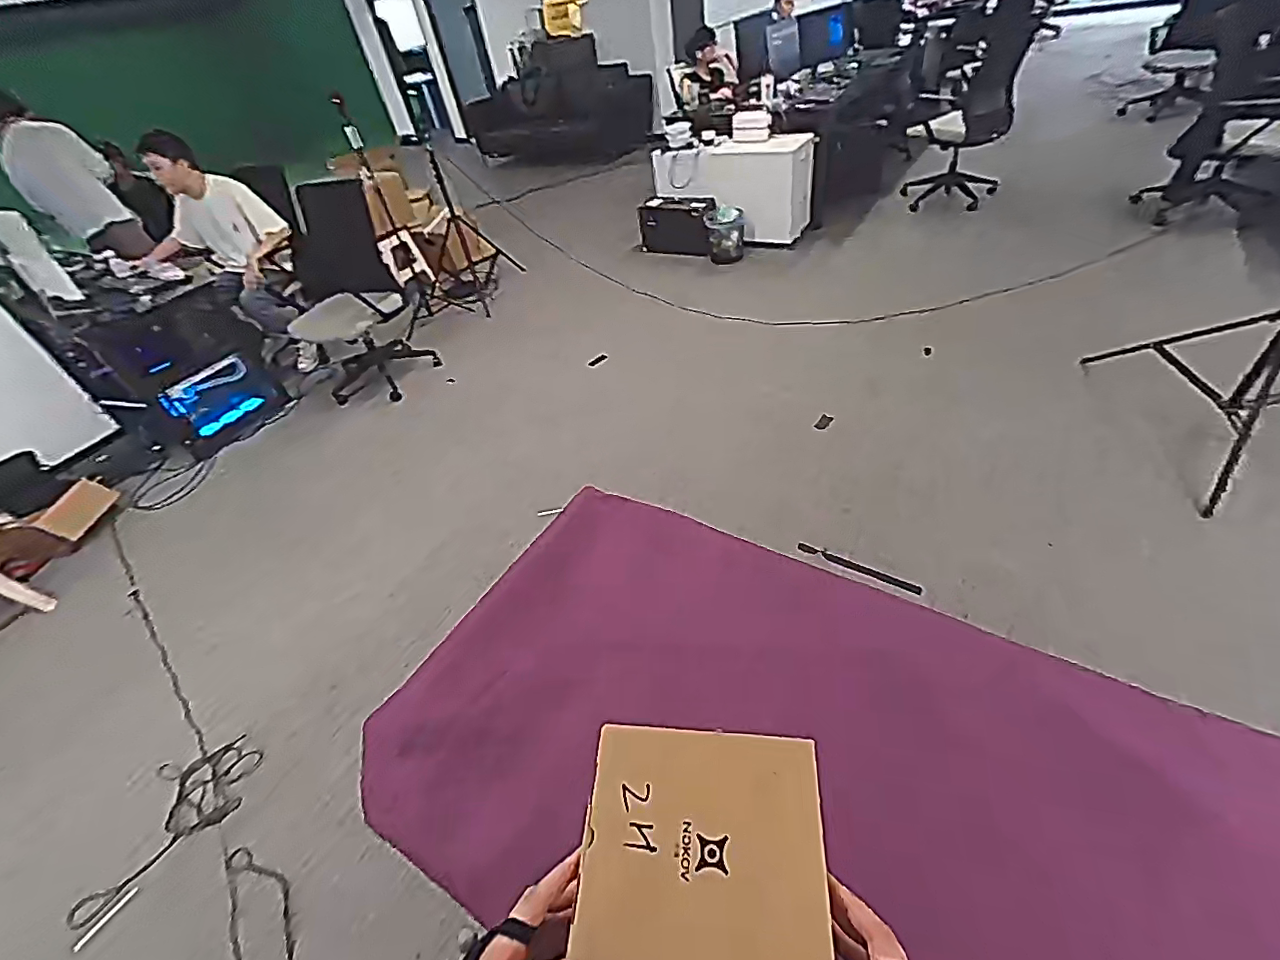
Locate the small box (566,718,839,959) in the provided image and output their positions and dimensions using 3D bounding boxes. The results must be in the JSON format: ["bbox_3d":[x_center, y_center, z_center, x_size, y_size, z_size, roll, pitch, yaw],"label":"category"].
[{"bbox_3d":[0.056,0.316,0.446,0.179,0.176,0.168,0,47,11],"label":"small box"}]
